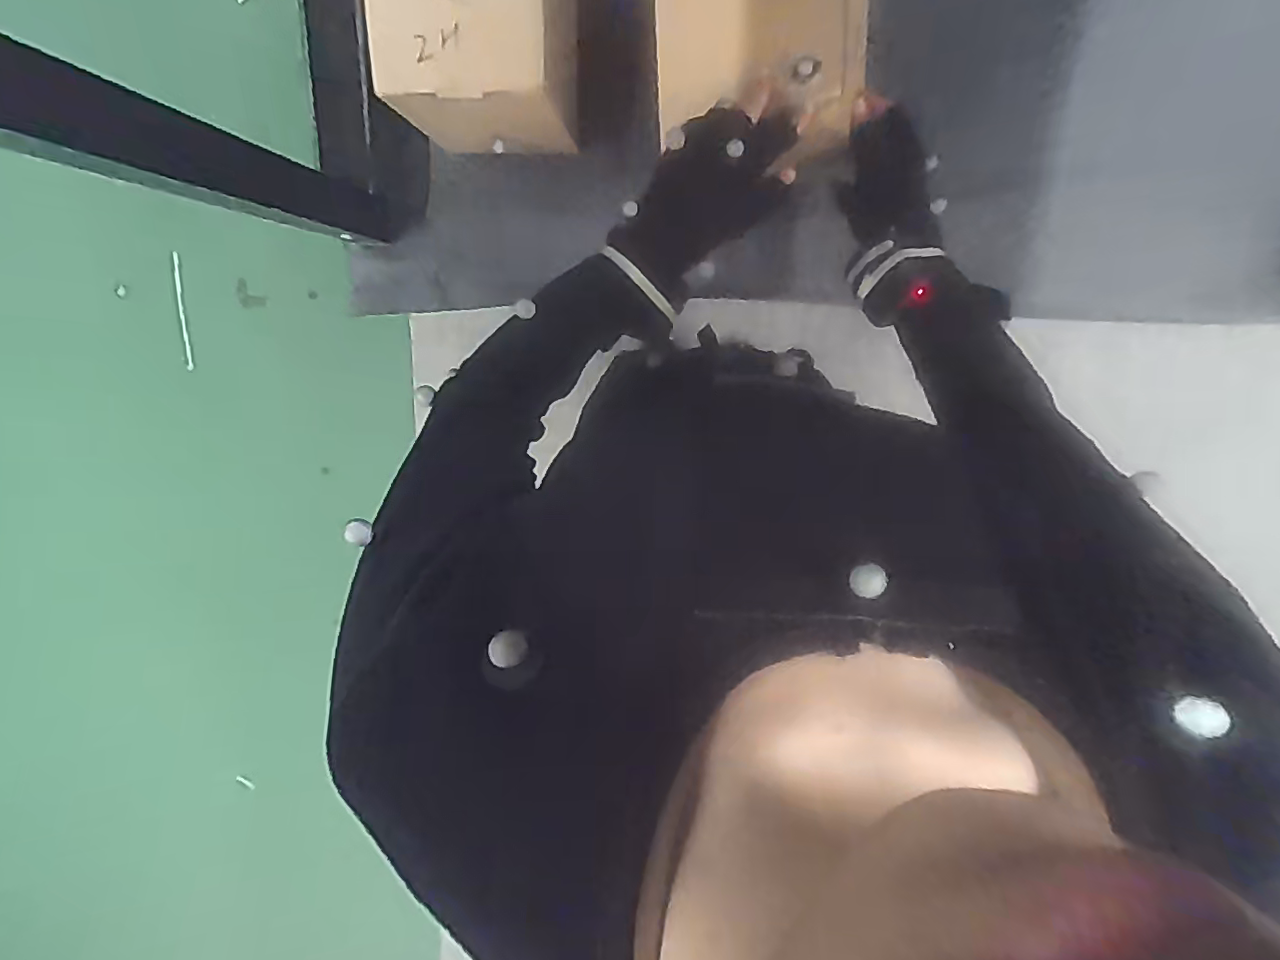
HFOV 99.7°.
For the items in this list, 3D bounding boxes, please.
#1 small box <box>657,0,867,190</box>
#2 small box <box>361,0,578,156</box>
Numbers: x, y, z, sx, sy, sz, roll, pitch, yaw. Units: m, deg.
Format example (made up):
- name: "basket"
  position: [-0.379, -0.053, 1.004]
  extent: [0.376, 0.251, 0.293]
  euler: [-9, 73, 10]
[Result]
- name: "small box"
  position: [0.121, -0.404, 0.521]
  extent: [0.176, 0.168, 0.179]
  euler: [4, 106, 25]
- name: "small box"
  position: [-0.162, -0.460, 0.555]
  extent: [0.168, 0.176, 0.179]
  euler: [3, 104, 5]
